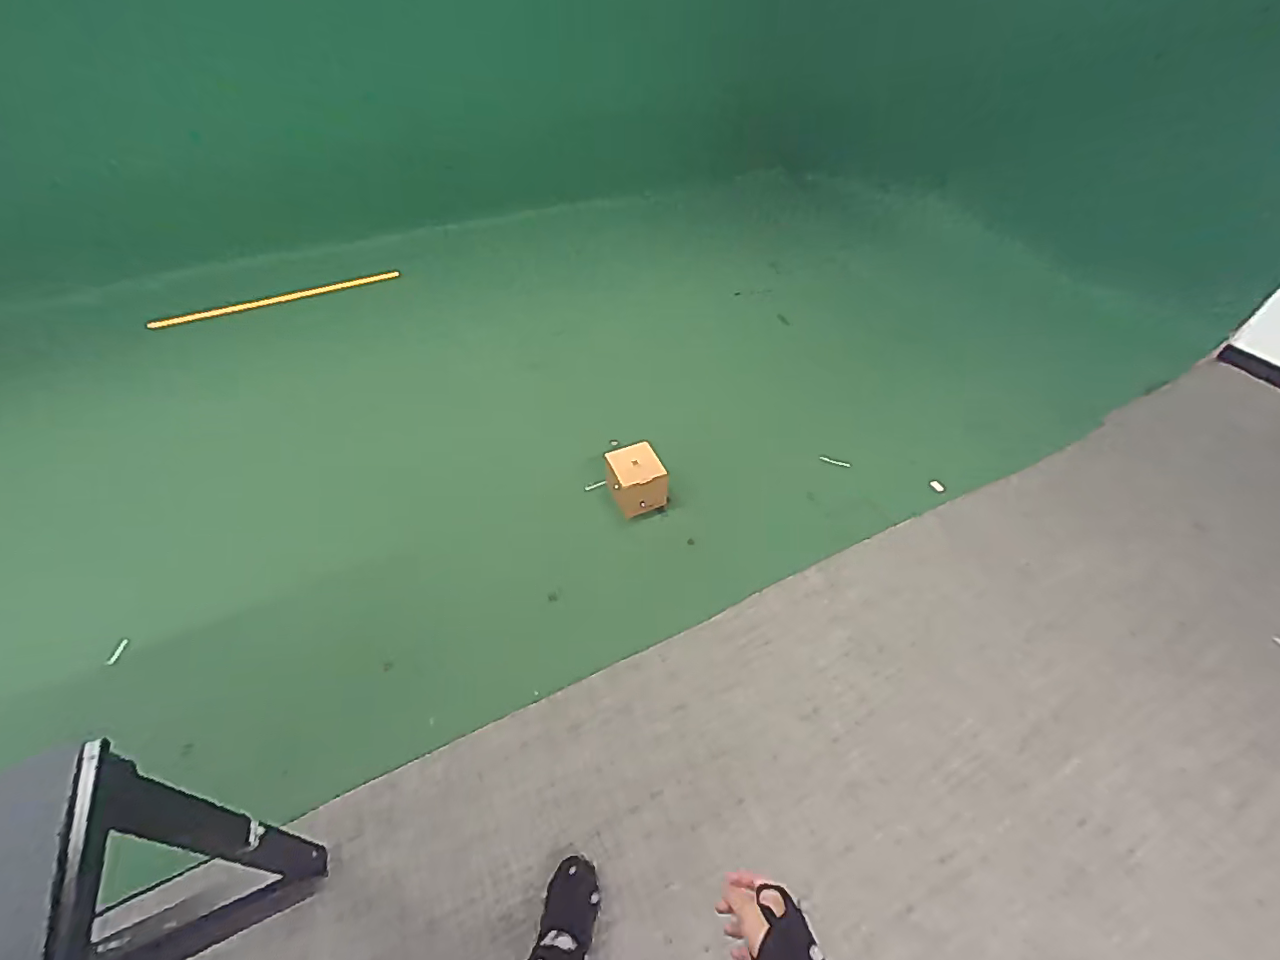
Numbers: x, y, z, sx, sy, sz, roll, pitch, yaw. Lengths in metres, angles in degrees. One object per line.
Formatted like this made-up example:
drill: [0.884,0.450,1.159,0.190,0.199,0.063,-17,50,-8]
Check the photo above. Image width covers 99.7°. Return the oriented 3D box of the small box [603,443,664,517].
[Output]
small box: [-0.027,0.001,1.923,0.168,0.176,0.179,-18,51,-16]
